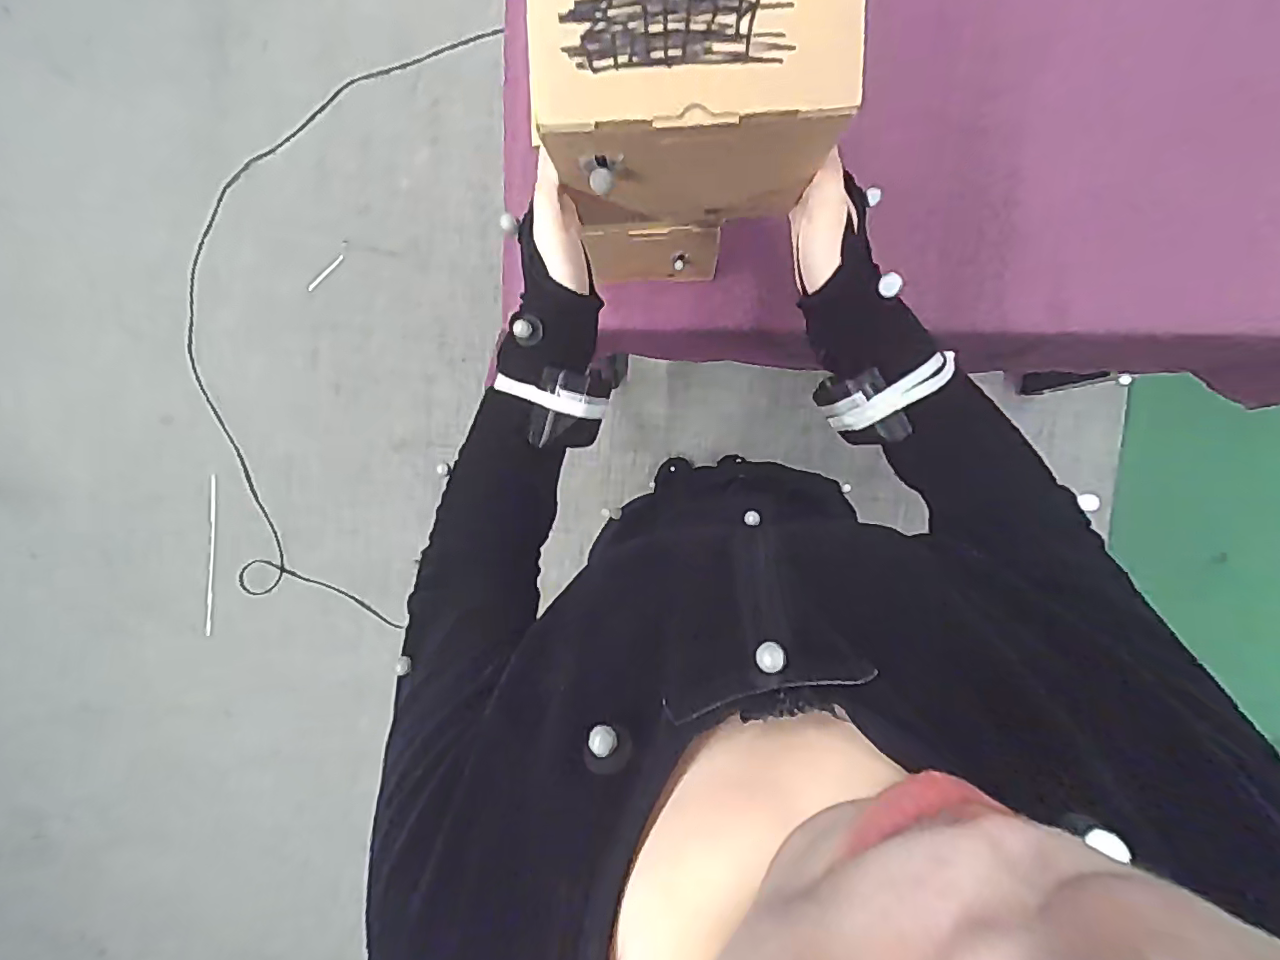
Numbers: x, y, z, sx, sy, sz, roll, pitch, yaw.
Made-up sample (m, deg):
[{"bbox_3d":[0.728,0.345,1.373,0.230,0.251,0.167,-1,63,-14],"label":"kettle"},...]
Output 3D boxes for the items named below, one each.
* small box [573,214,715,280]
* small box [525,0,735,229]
[{"bbox_3d":[0.011,-0.366,0.691,0.168,0.176,0.179,0,91,3],"label":"small box"},{"bbox_3d":[-0.004,-0.363,0.529,0.179,0.176,0.168,-2,91,3],"label":"small box"}]
